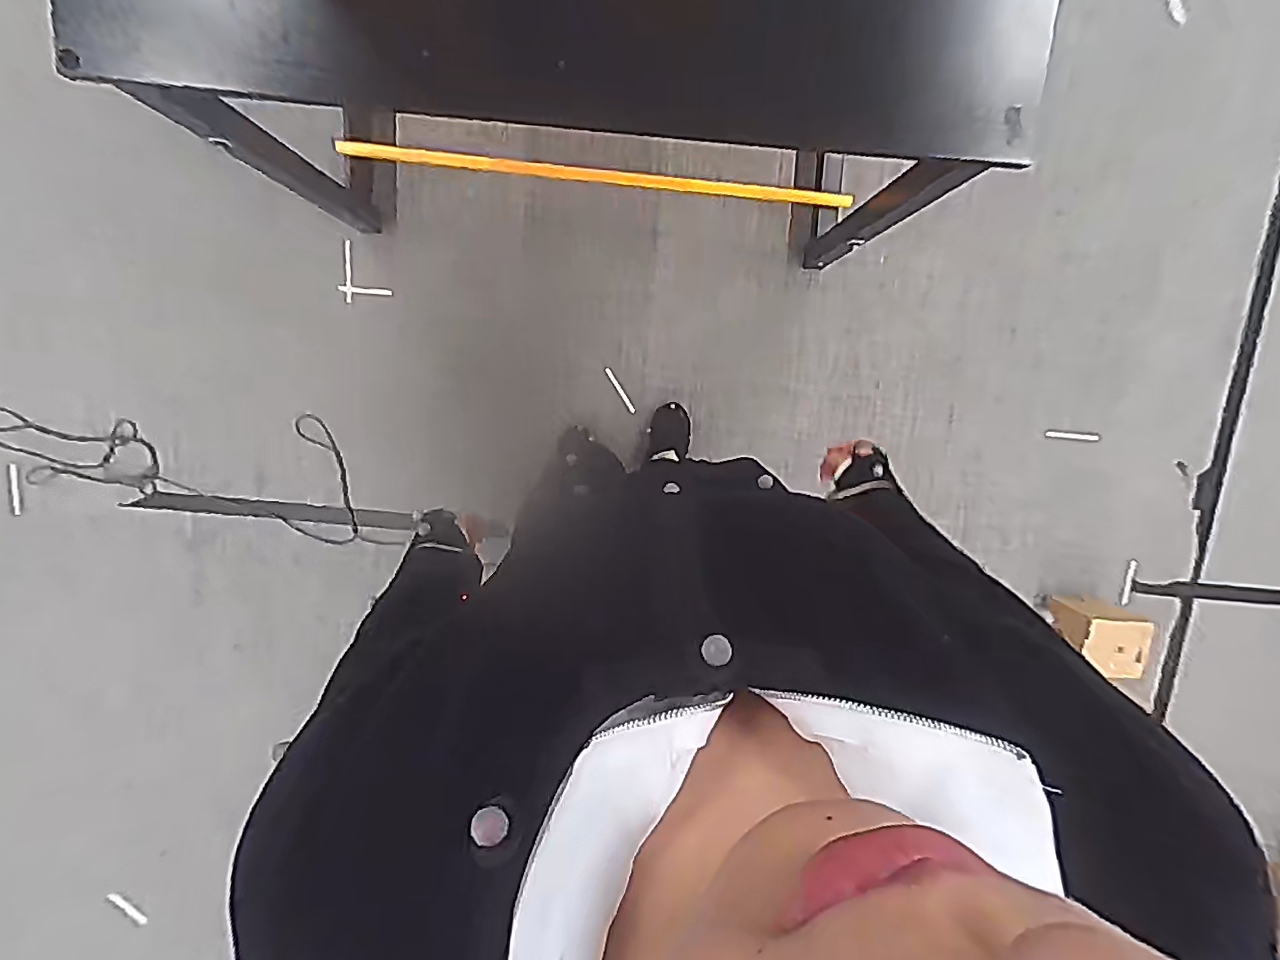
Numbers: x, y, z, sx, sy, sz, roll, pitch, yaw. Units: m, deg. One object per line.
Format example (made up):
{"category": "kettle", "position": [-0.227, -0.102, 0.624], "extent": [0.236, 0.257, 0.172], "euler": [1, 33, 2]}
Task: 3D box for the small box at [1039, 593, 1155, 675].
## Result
{"category": "small box", "position": [1.278, 0.429, 1.526], "extent": [0.179, 0.176, 0.168], "euler": [4, 100, -1]}
